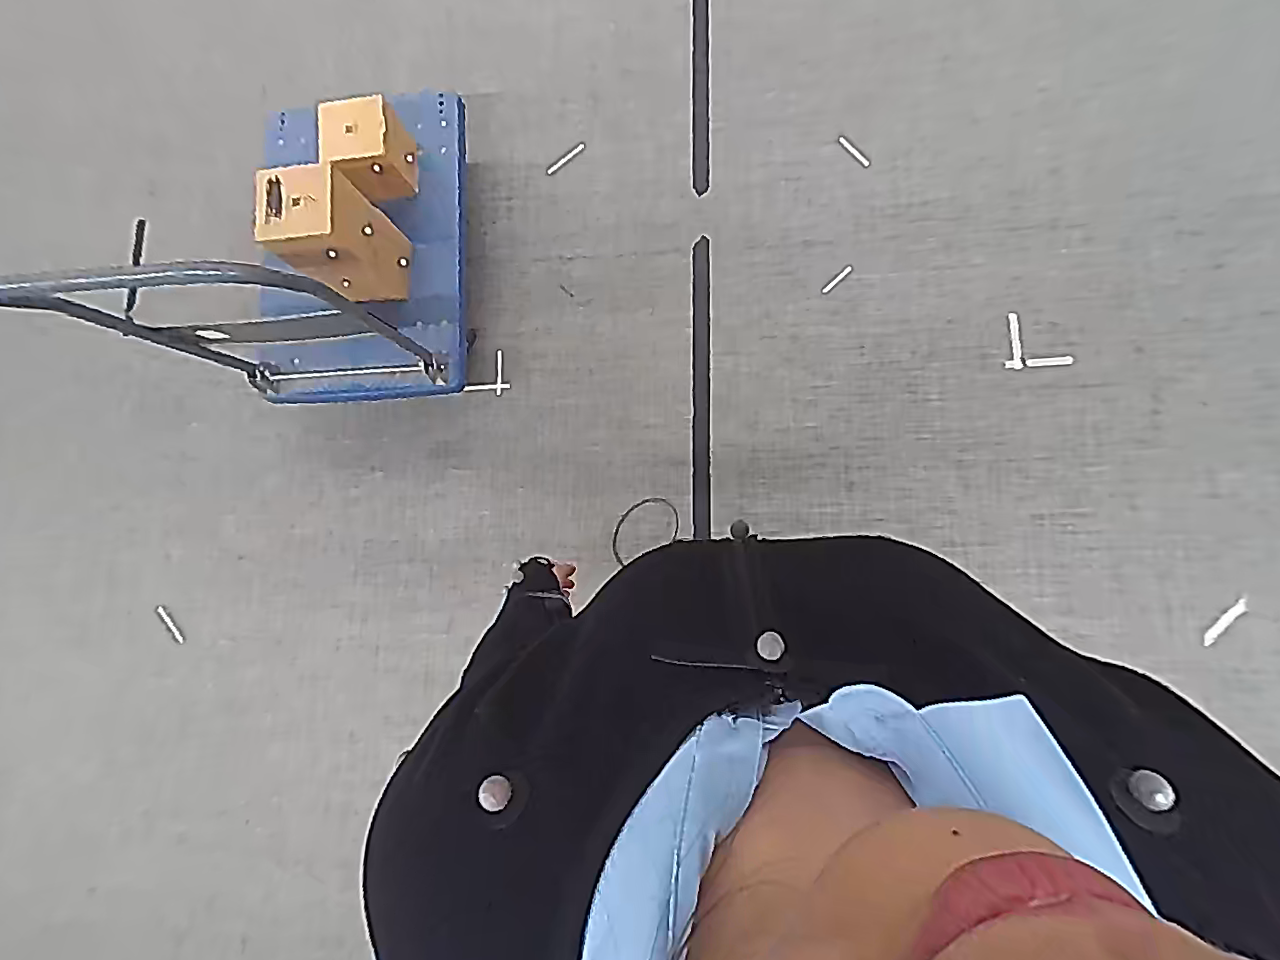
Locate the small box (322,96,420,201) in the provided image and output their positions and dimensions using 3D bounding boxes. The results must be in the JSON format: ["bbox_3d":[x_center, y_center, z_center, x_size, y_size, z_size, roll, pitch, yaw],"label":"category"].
[{"bbox_3d":[-0.708,-0.869,1.434,0.179,0.176,0.168,-5,84,5],"label":"small box"}]

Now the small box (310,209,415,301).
[{"bbox_3d":[-0.713,-0.576,1.402,0.179,0.176,0.168,1,85,5],"label":"small box"}]
